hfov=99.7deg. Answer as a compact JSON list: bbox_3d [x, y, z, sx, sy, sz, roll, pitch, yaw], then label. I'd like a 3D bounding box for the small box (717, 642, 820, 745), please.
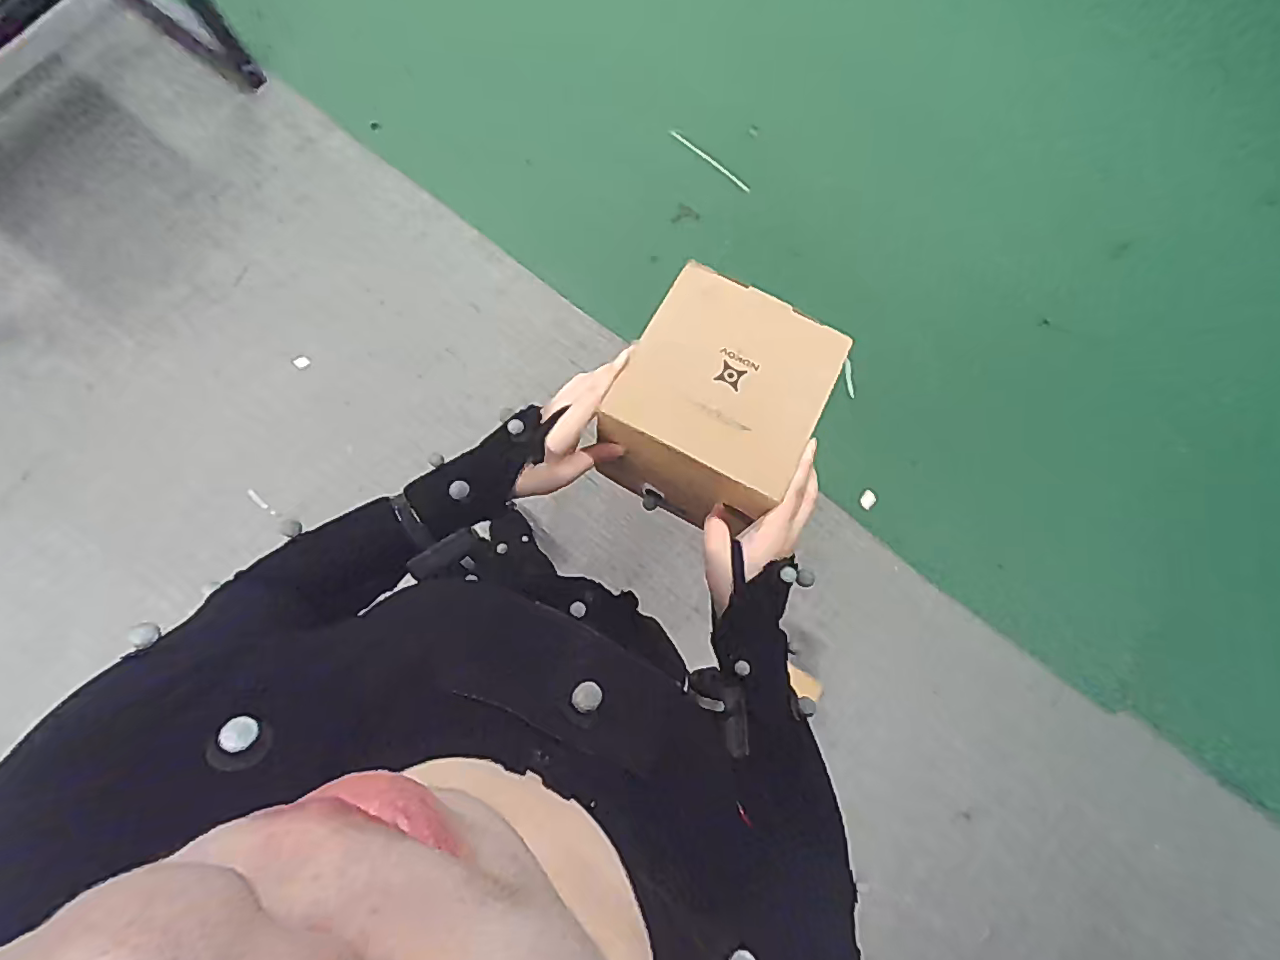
[{"bbox_3d":[0.325,0.541,1.399,0.179,0.176,0.168,34,81,2],"label":"small box"}]
